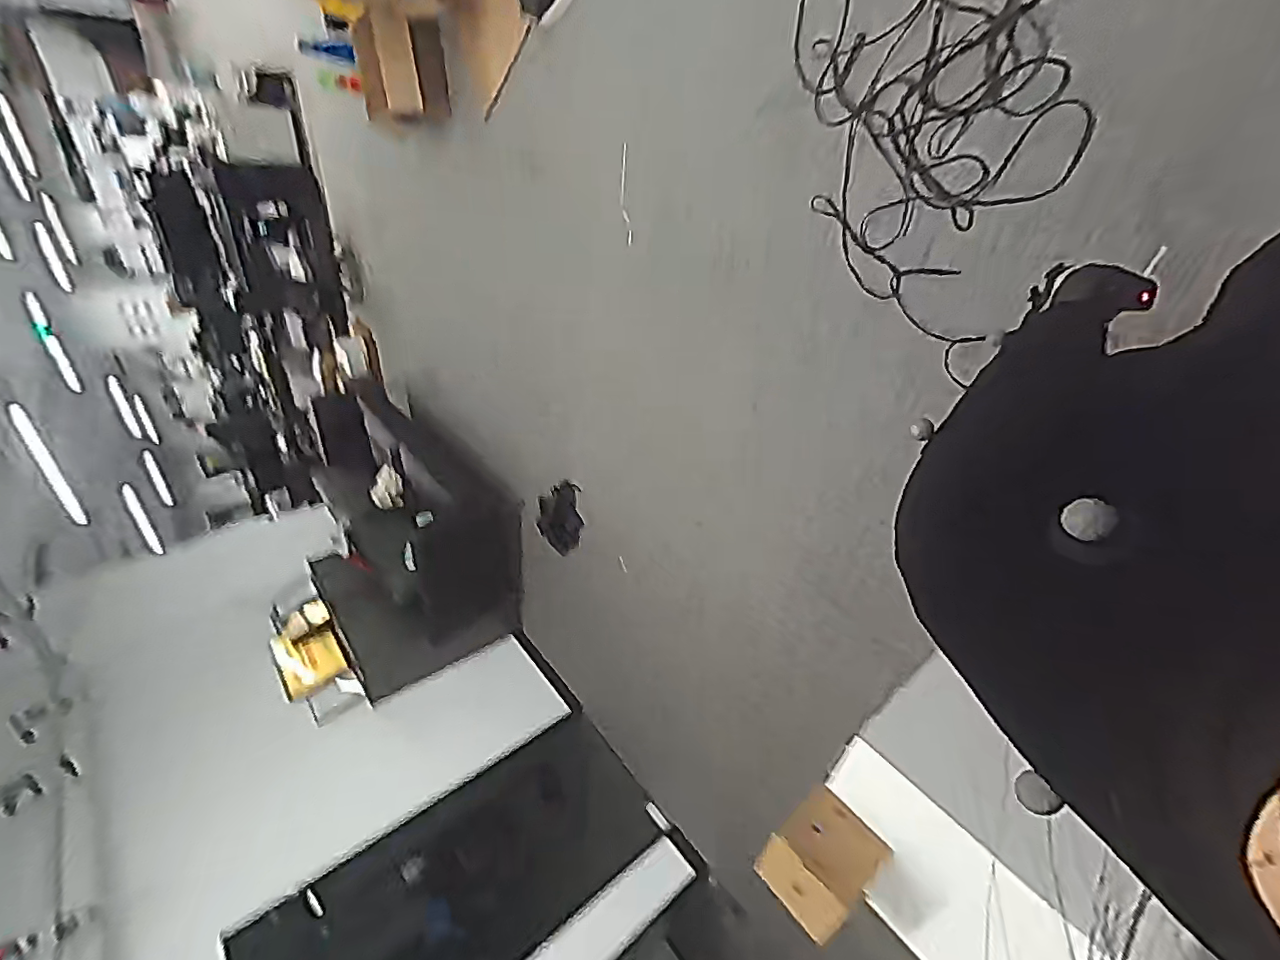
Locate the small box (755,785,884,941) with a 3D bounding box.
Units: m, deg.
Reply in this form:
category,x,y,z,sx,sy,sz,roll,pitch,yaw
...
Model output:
category,x,y,z,sx,sy,sz,roll,pitch,yaw
small box,0.367,0.771,1.103,0.168,0.176,0.179,38,135,37
